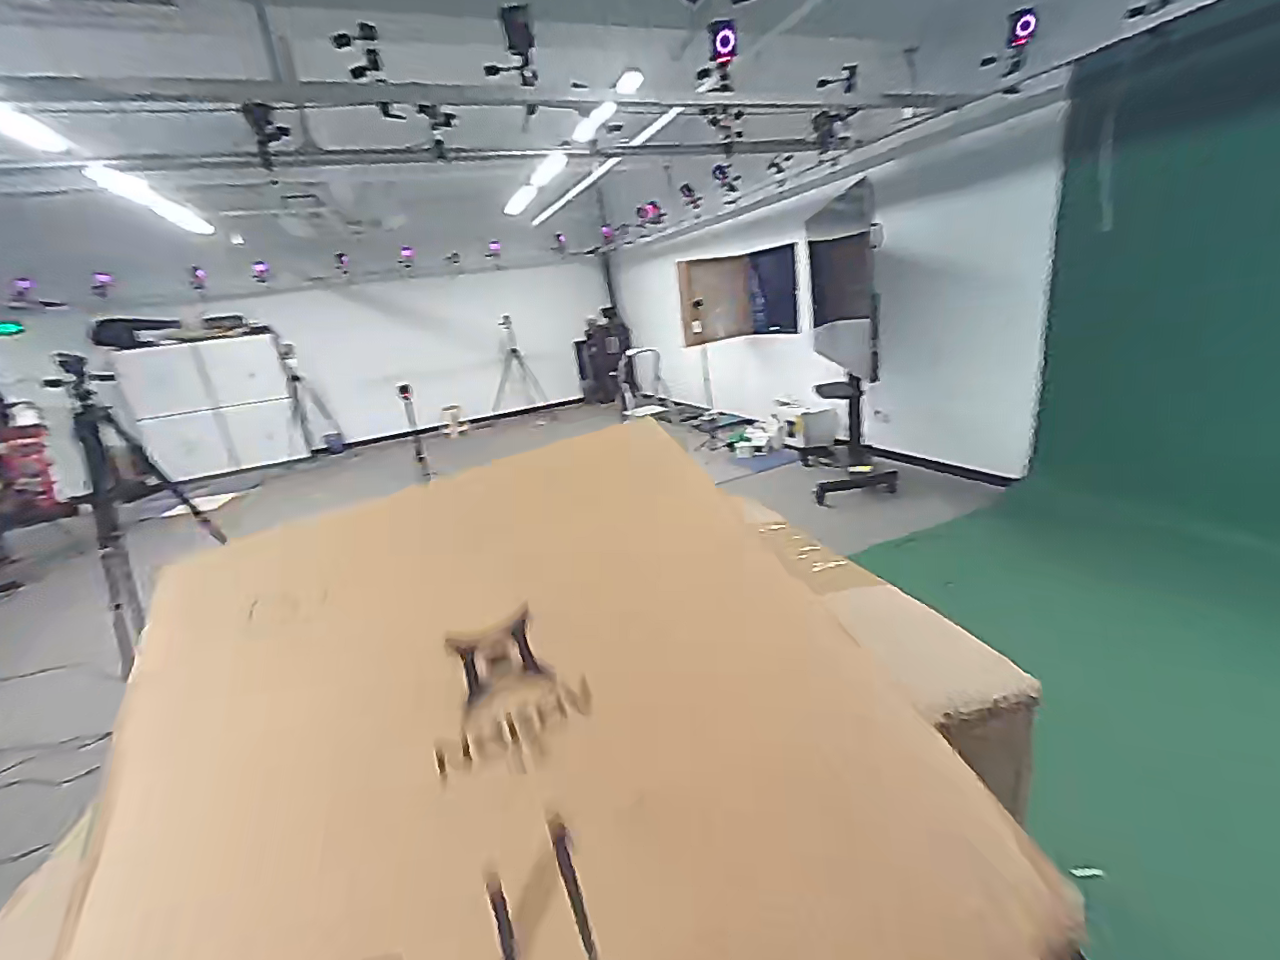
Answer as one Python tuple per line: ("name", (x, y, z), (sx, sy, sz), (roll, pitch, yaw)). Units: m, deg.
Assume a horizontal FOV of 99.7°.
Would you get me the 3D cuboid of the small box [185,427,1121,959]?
("small box", (-0.015, 0.113, 0.190), (0.168, 0.176, 0.179), (-19, 46, -17))
